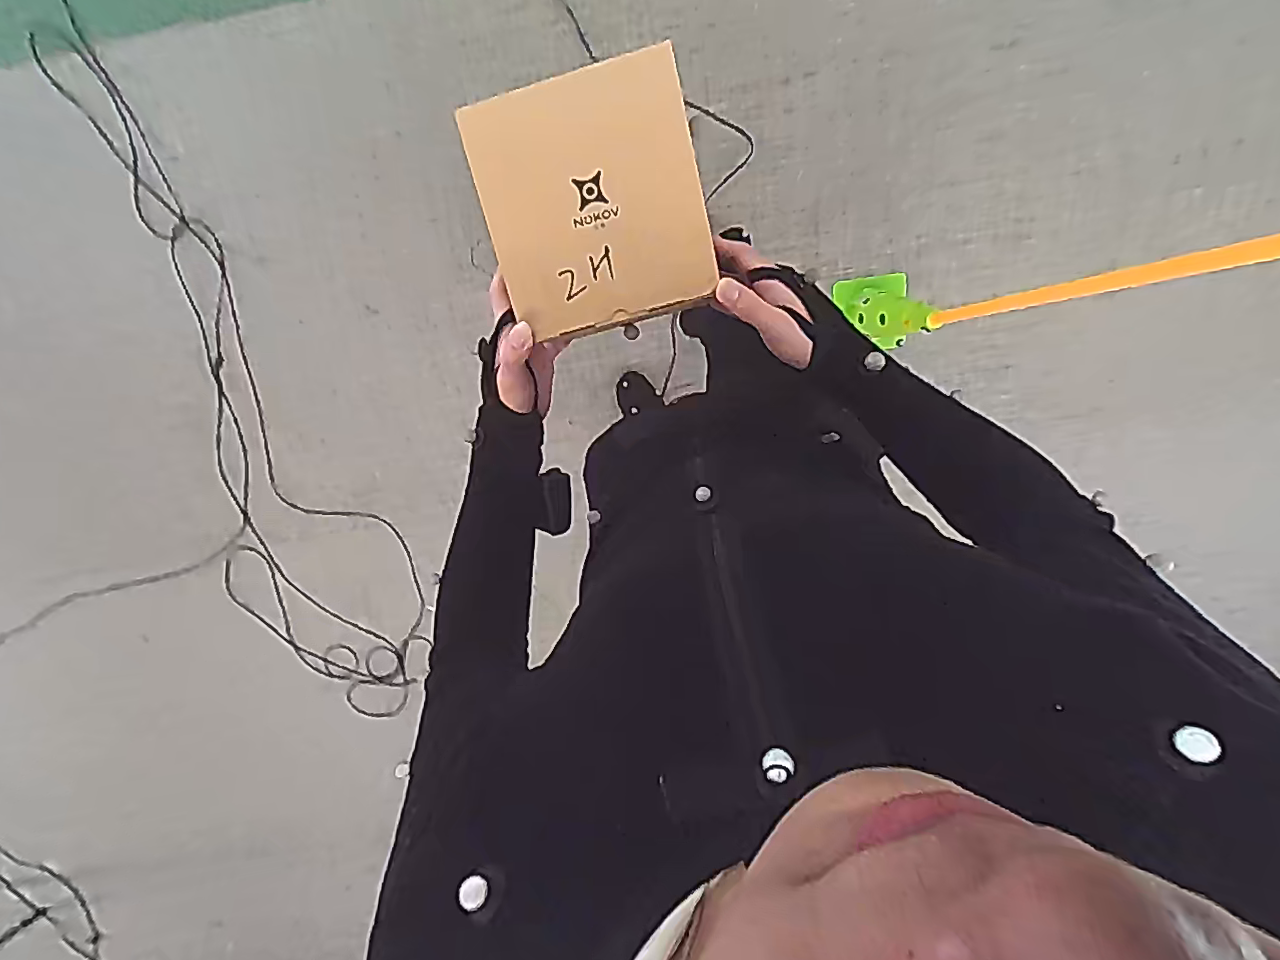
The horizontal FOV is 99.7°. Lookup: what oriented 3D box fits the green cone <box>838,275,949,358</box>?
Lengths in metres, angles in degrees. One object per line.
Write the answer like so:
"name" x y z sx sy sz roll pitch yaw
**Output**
"green cone" 0.637 -0.393 1.304 0.202 0.368 0.200 -8 107 4
